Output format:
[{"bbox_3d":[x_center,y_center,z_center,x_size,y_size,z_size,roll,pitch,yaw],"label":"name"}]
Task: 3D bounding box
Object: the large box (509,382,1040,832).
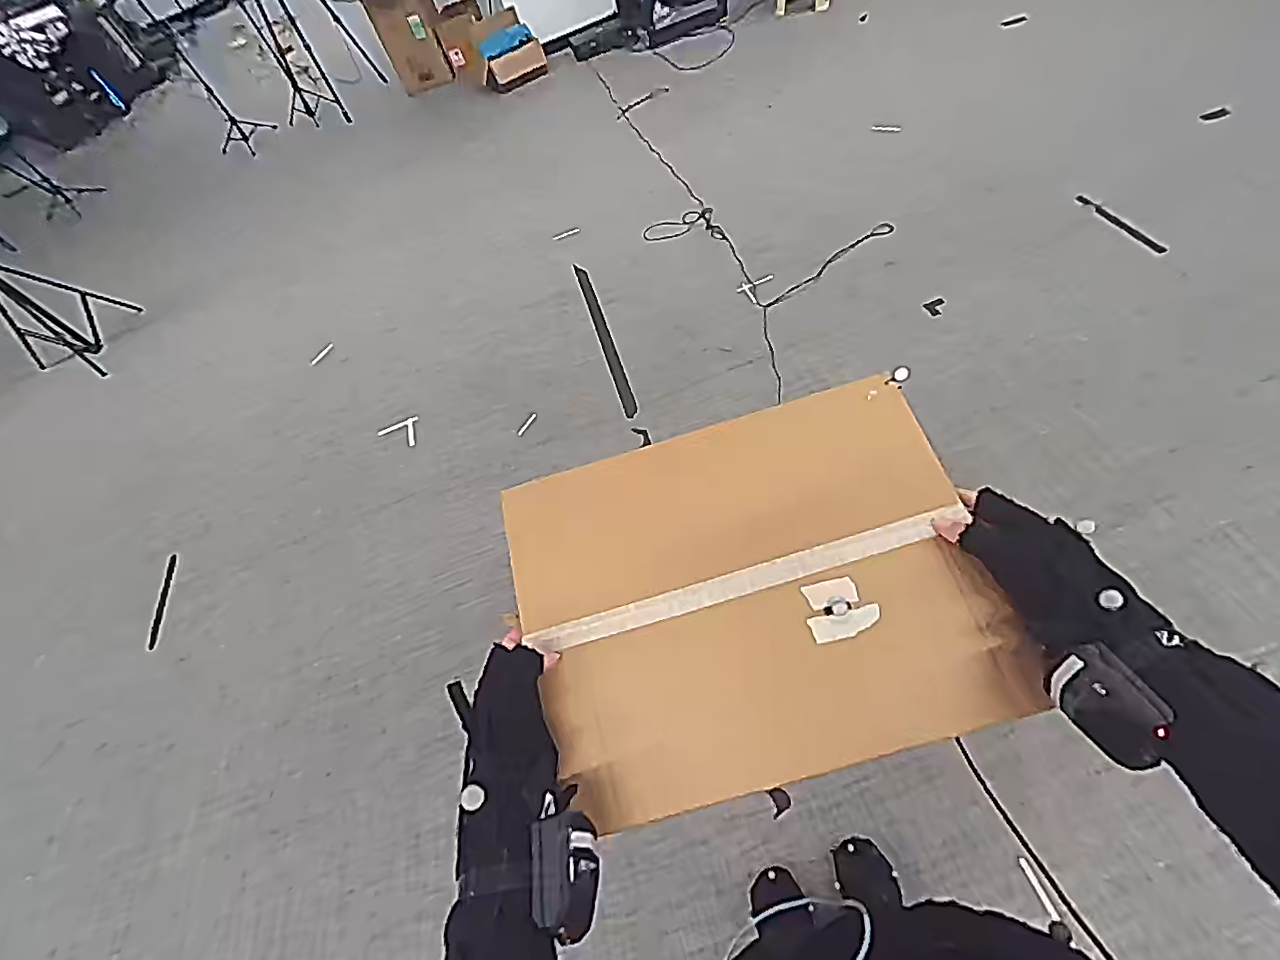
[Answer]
[{"bbox_3d":[0.112,0.150,0.628,0.408,0.320,0.320,-17,67,1],"label":"large box"}]
